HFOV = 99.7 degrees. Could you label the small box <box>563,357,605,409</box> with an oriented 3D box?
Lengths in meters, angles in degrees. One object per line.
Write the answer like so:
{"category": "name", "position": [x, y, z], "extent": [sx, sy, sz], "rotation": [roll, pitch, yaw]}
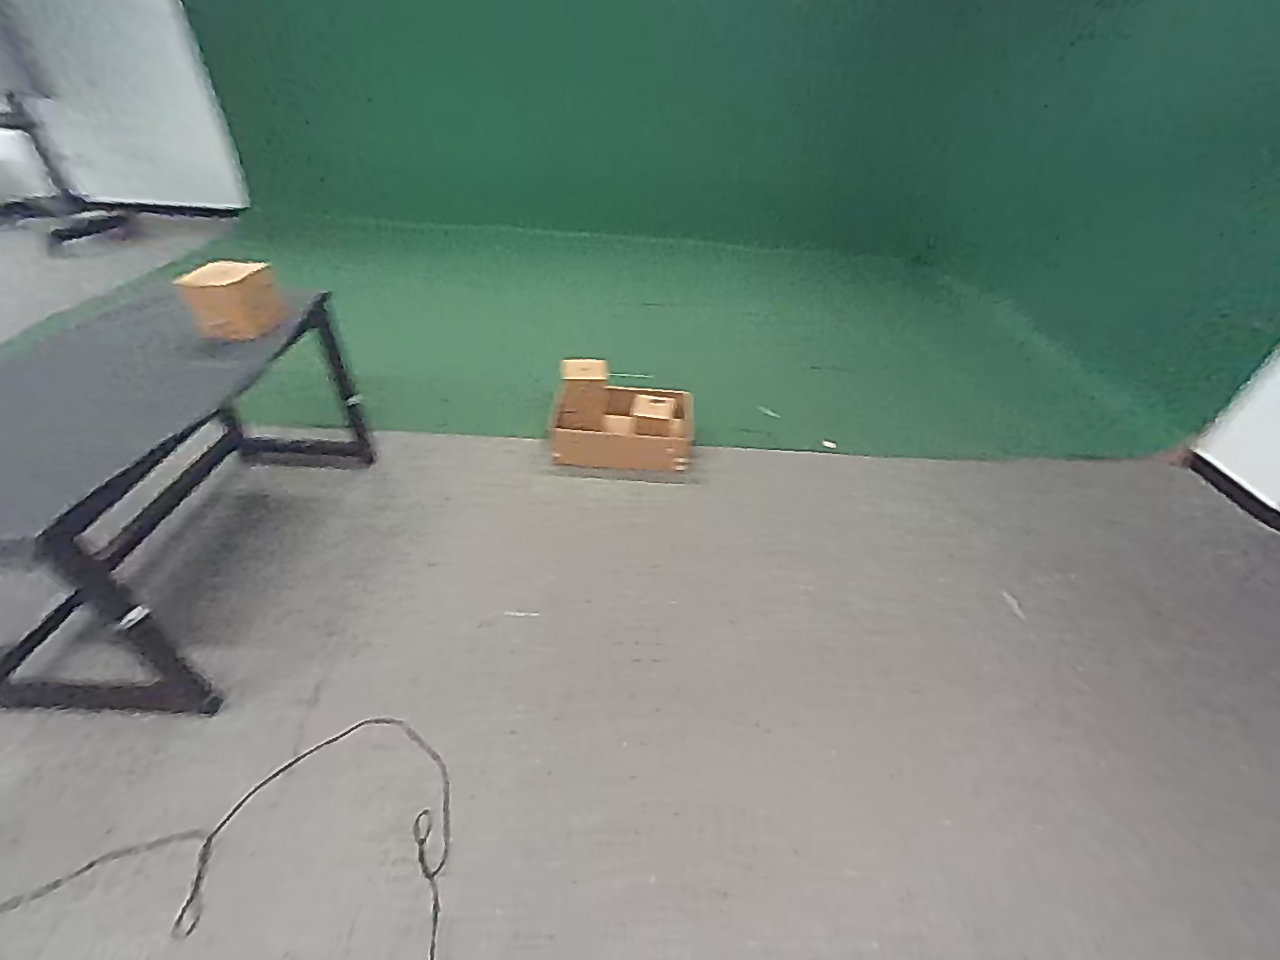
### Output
{"category": "small box", "position": [-0.249, -0.424, 2.374], "extent": [0.179, 0.176, 0.168], "rotation": [0, 42, -9]}

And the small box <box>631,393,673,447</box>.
{"category": "small box", "position": [0.052, -0.276, 2.492], "extent": [0.168, 0.176, 0.179], "rotation": [9, 42, 4]}

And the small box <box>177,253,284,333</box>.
{"category": "small box", "position": [-1.209, -0.561, 1.619], "extent": [0.168, 0.176, 0.179], "rotation": [5, 41, 3]}

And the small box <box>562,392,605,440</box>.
{"category": "small box", "position": [-0.257, -0.299, 2.482], "extent": [0.179, 0.176, 0.168], "rotation": [5, 41, 0]}
